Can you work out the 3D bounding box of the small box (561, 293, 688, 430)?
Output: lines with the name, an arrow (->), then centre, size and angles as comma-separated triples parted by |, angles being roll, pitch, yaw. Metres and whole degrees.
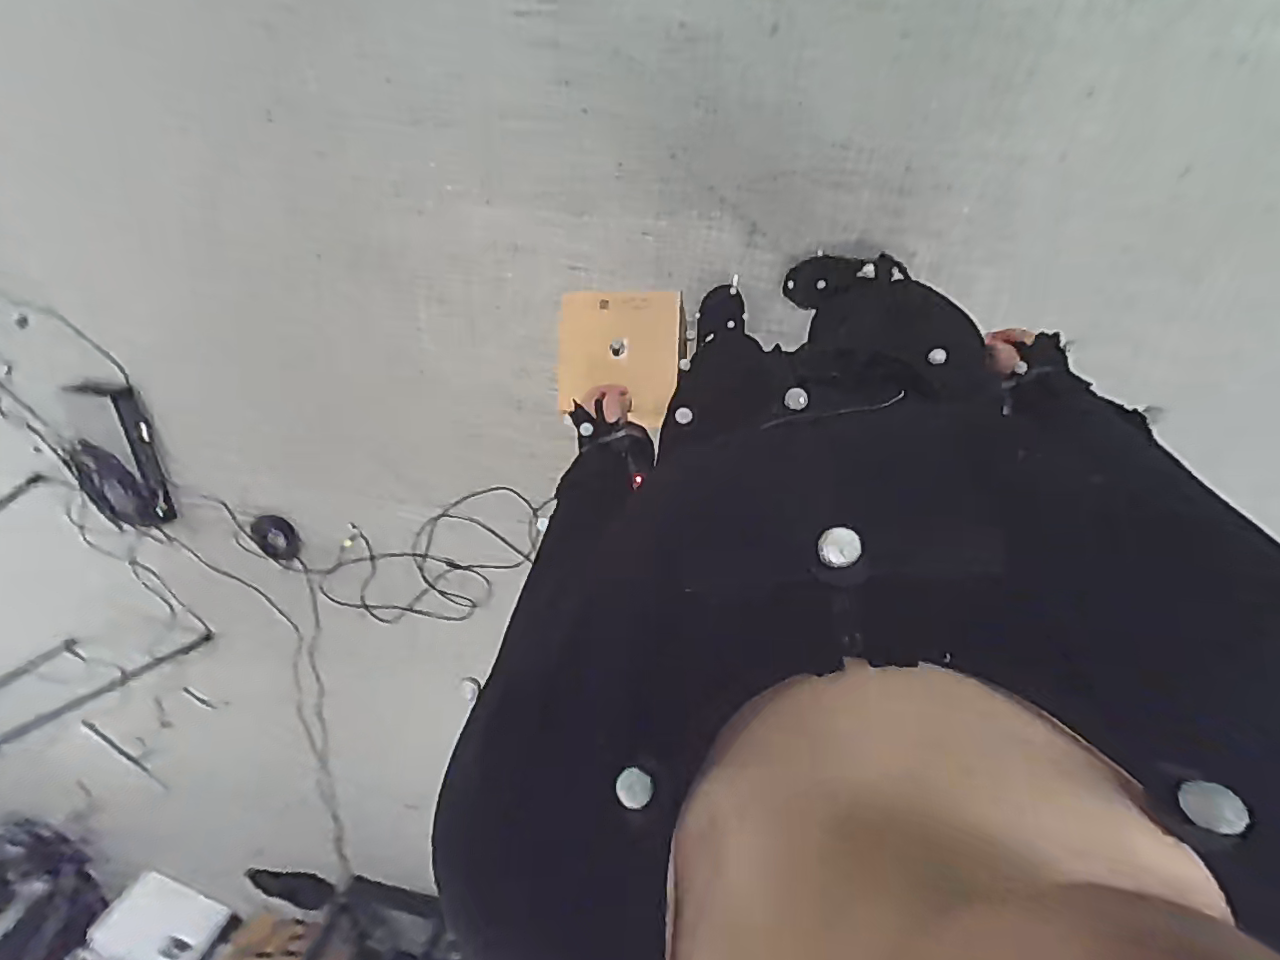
small box -> -0.016, -0.172, 0.814 | 0.168, 0.179, 0.176 | 4, 90, 7
